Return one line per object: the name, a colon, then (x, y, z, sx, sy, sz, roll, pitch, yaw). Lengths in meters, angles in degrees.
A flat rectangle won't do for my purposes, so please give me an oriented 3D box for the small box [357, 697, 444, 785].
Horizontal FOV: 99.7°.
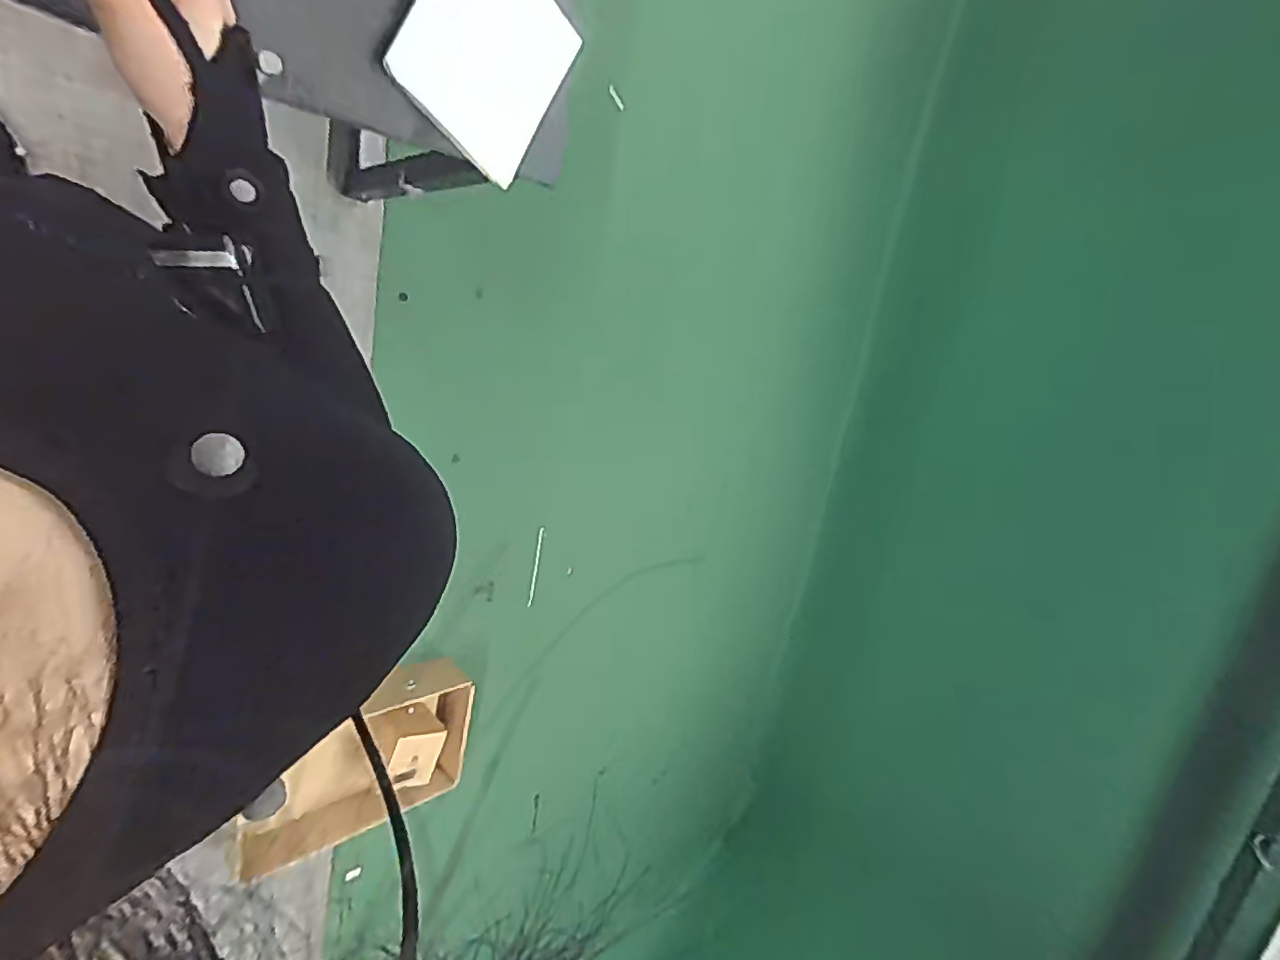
small box: (-0.743, 0.795, 1.664, 0.168, 0.176, 0.179, 21, 91, -50)
